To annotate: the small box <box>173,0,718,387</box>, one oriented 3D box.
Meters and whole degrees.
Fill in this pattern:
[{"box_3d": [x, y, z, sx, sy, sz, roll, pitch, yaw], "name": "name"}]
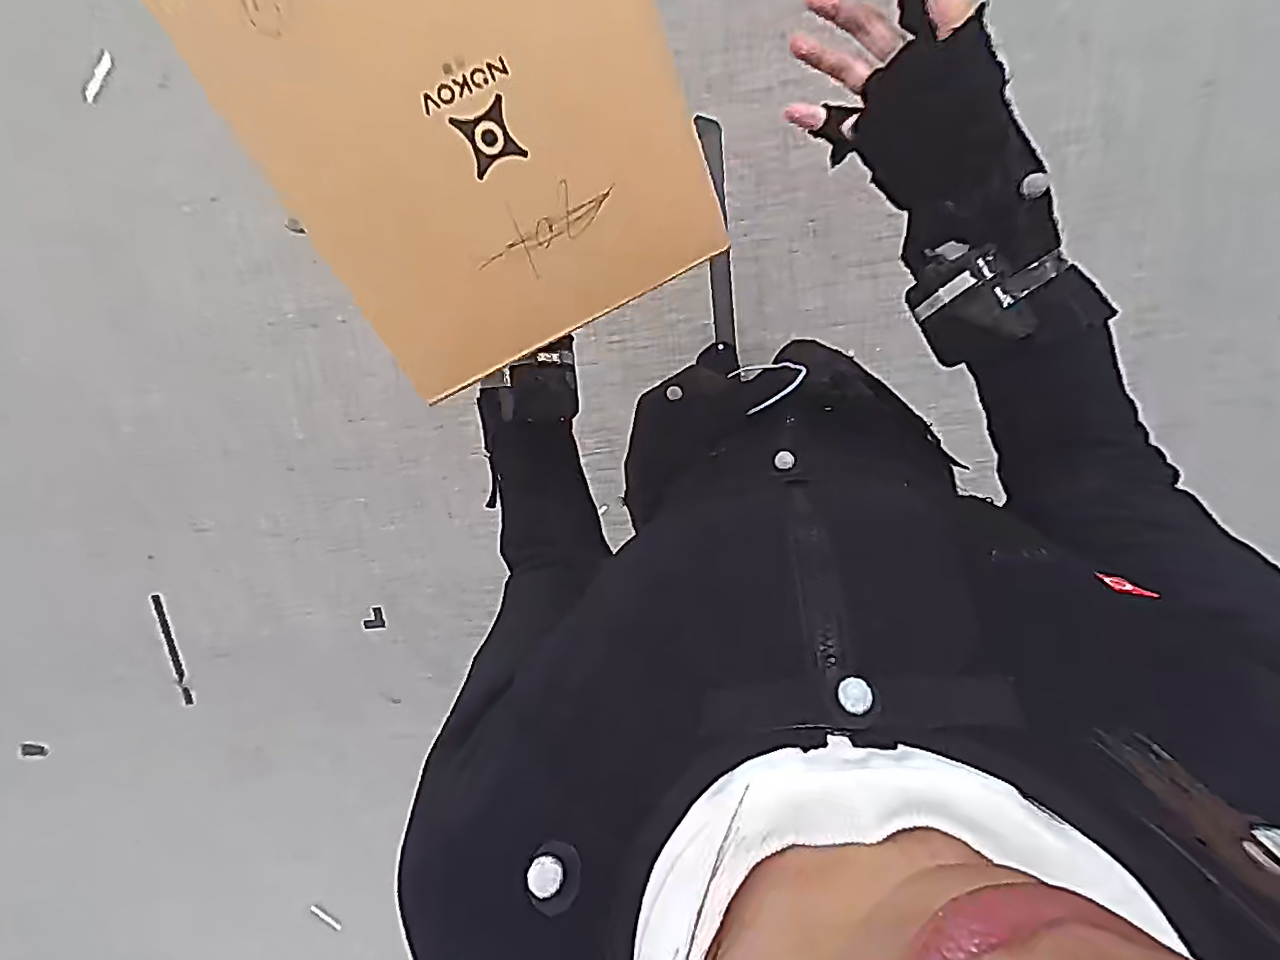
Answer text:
[{"box_3d": [-0.085, -0.180, 0.296, 0.168, 0.176, 0.179, -28, 120, -2], "name": "small box"}]
